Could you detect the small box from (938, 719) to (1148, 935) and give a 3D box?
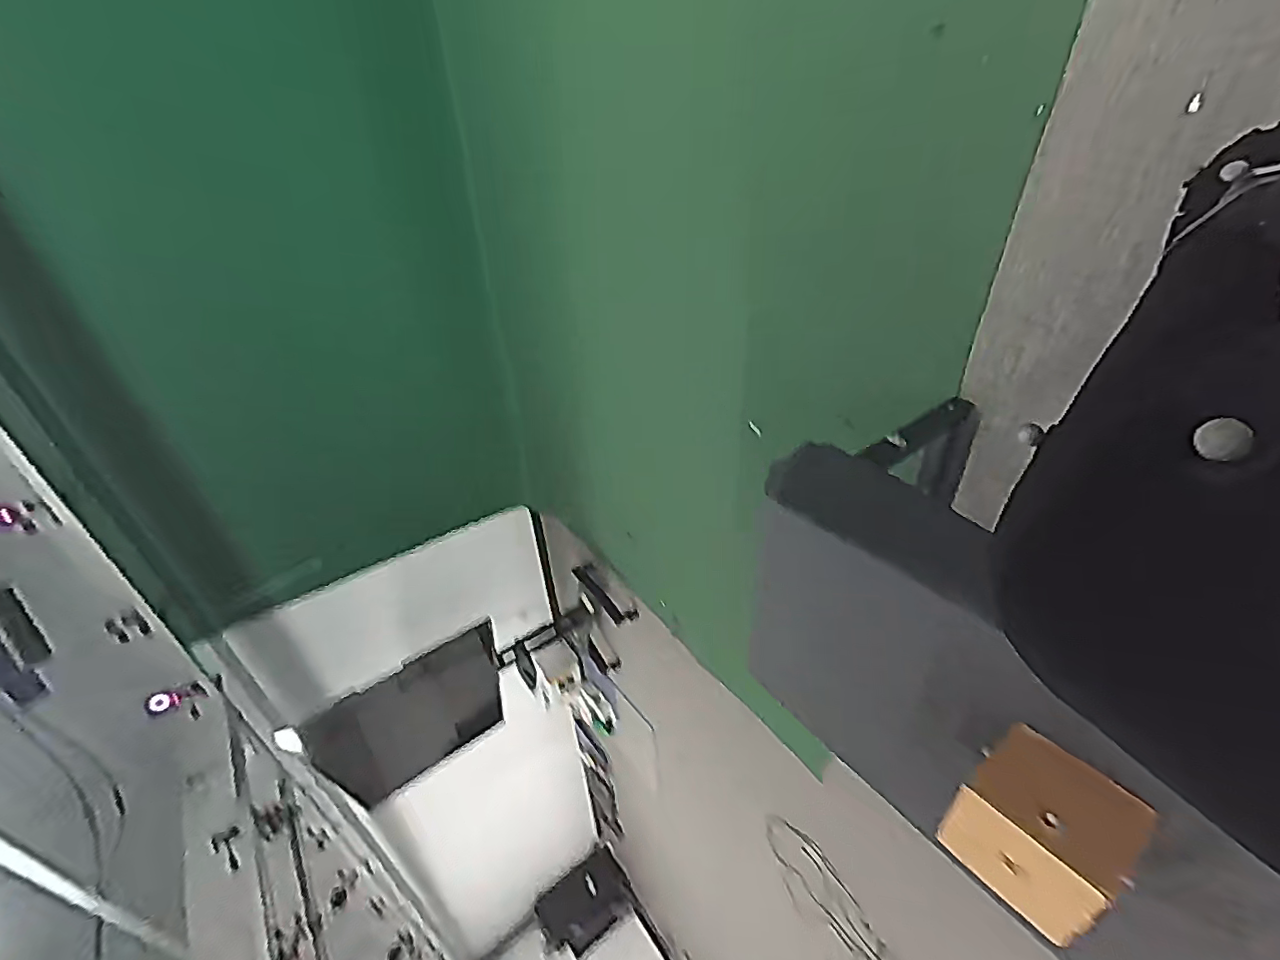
[{"bbox_3d":[0.586,0.497,0.796,0.179,0.176,0.168,36,140,44],"label":"small box"}]
